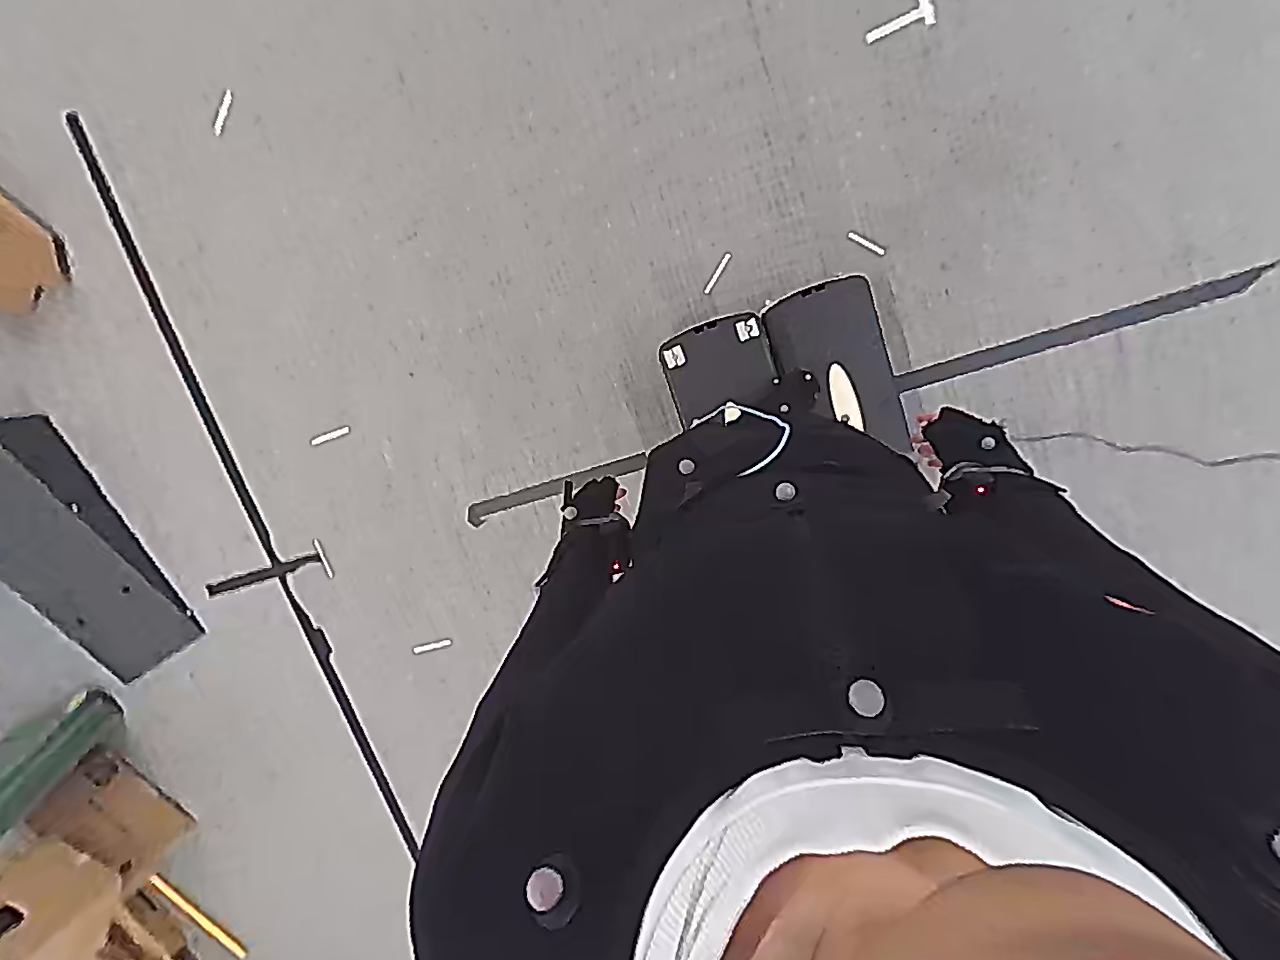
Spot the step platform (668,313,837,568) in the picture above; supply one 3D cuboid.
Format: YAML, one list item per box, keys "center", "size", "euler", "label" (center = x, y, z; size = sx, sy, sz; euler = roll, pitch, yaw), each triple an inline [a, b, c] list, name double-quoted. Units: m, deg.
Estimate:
- center: [0.313, -0.103, 1.504]
  size: [0.286, 0.204, 0.684]
  euler: [-19, 97, 12]
  label: "step platform"
